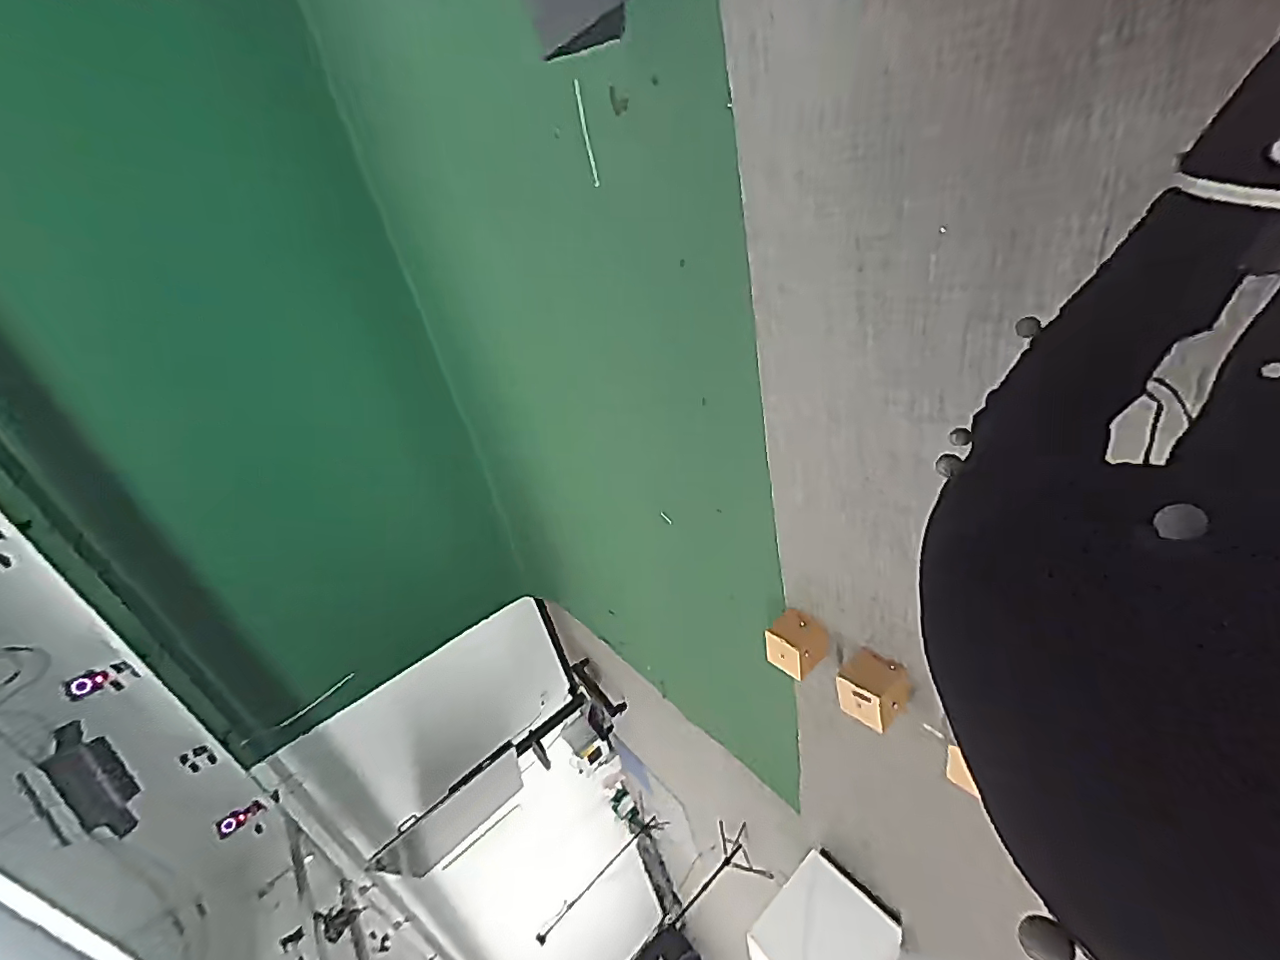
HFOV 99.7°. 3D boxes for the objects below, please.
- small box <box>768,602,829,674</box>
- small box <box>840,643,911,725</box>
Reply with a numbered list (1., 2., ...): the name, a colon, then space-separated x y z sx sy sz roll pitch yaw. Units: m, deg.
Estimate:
1. small box: 0.629 0.618 2.133 0.168 0.176 0.179 24 136 46
2. small box: 0.828 0.705 1.892 0.168 0.176 0.179 19 133 51
